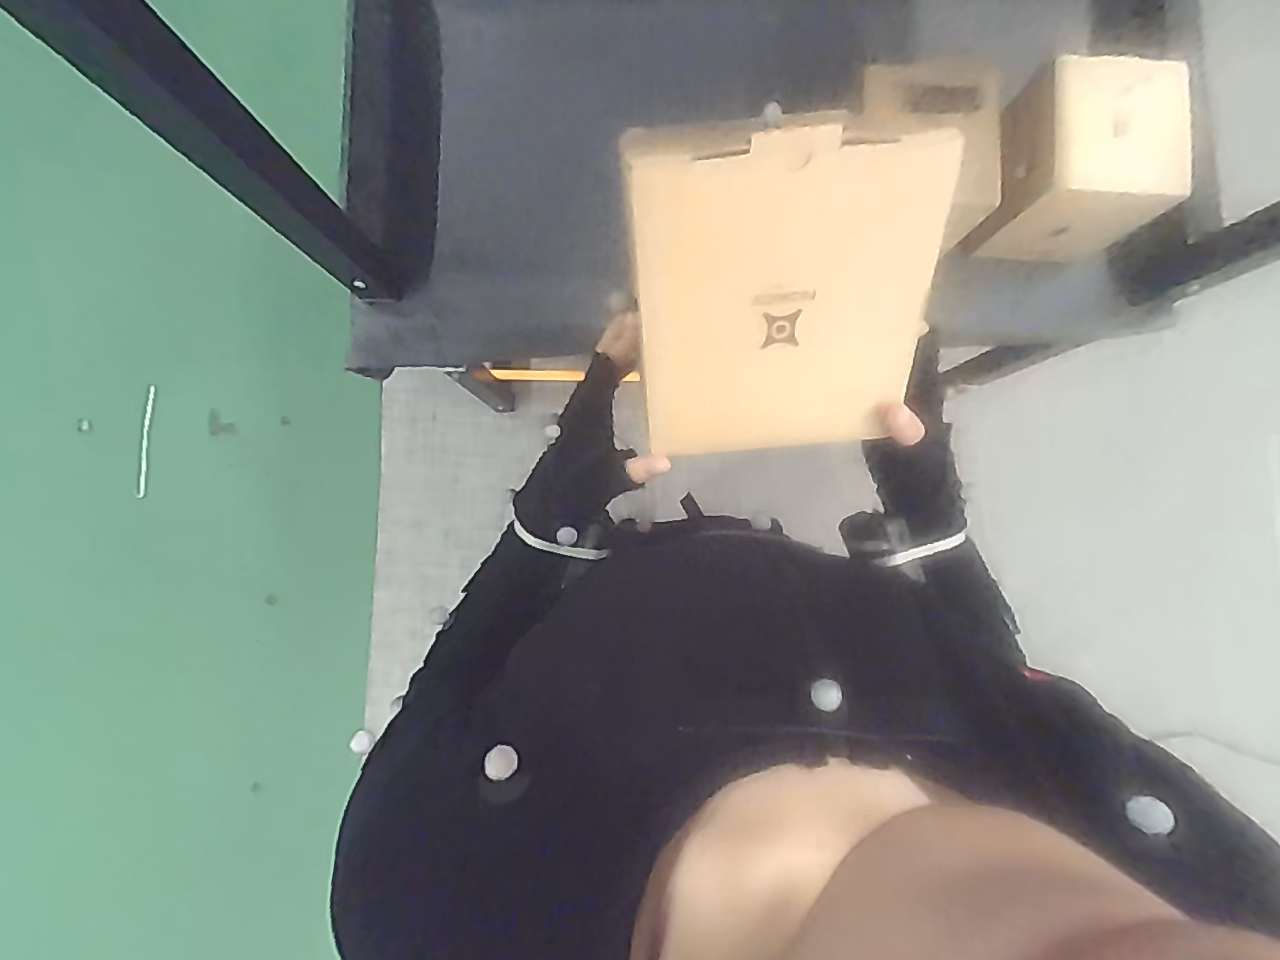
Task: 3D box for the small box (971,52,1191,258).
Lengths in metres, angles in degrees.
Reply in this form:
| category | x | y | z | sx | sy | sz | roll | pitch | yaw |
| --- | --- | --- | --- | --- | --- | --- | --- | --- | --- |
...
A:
| category | x | y | z | sx | sy | sz | roll | pitch | yaw |
| --- | --- | --- | --- | --- | --- | --- | --- | --- | --- |
| small box | 0.577 | -0.422 | 0.729 | 0.168 | 0.176 | 0.179 | 4 | 85 | 0 |
